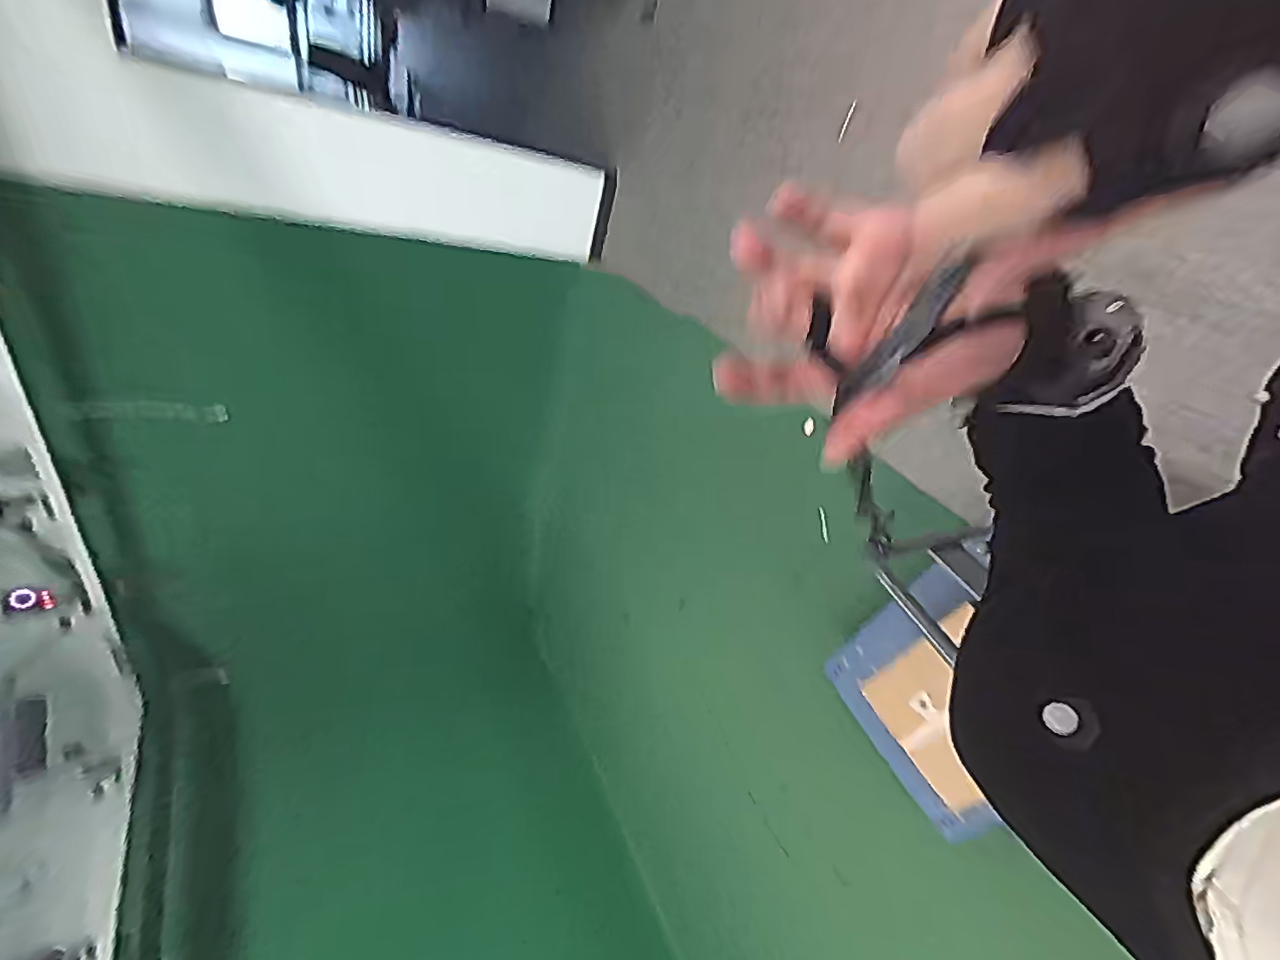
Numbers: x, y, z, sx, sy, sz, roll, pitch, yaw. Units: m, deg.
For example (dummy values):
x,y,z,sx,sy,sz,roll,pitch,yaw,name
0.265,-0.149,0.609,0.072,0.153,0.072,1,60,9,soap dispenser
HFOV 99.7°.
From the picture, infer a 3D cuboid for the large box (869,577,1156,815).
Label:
x,y,z,sx,sy,sz,roll,pitch,yaw,name
0.840,0.489,1.259,0.320,0.320,0.408,57,139,35,large box
